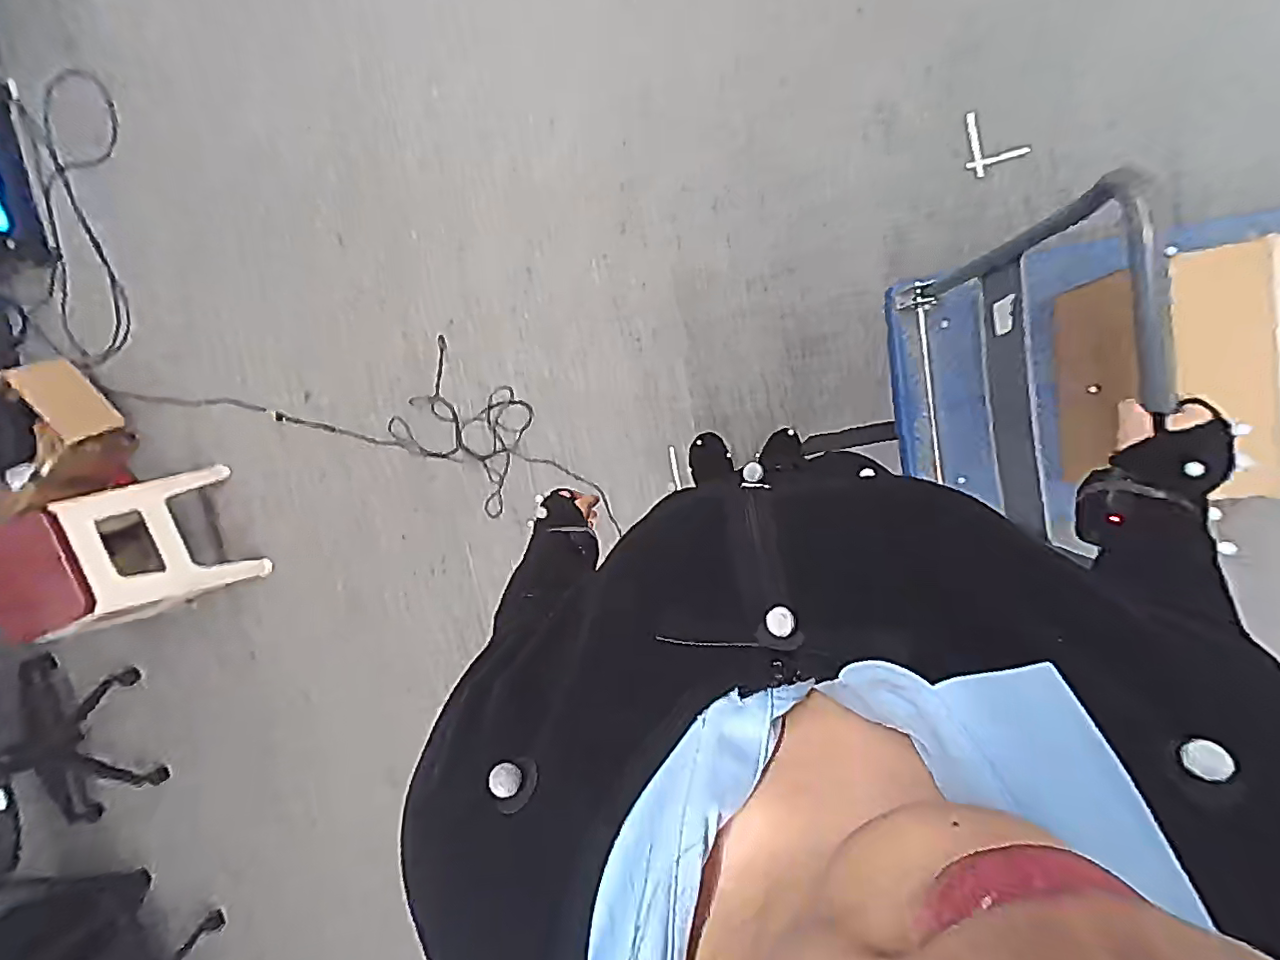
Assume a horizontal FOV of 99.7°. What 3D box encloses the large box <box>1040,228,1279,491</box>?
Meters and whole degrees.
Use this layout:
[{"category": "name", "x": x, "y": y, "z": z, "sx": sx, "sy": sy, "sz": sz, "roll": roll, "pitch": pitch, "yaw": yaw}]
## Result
[{"category": "large box", "x": 1.022, "y": -0.208, "z": 1.022, "sx": 0.320, "sy": 0.320, "sz": 0.408, "roll": -8, "pitch": 94, "yaw": 10}]
